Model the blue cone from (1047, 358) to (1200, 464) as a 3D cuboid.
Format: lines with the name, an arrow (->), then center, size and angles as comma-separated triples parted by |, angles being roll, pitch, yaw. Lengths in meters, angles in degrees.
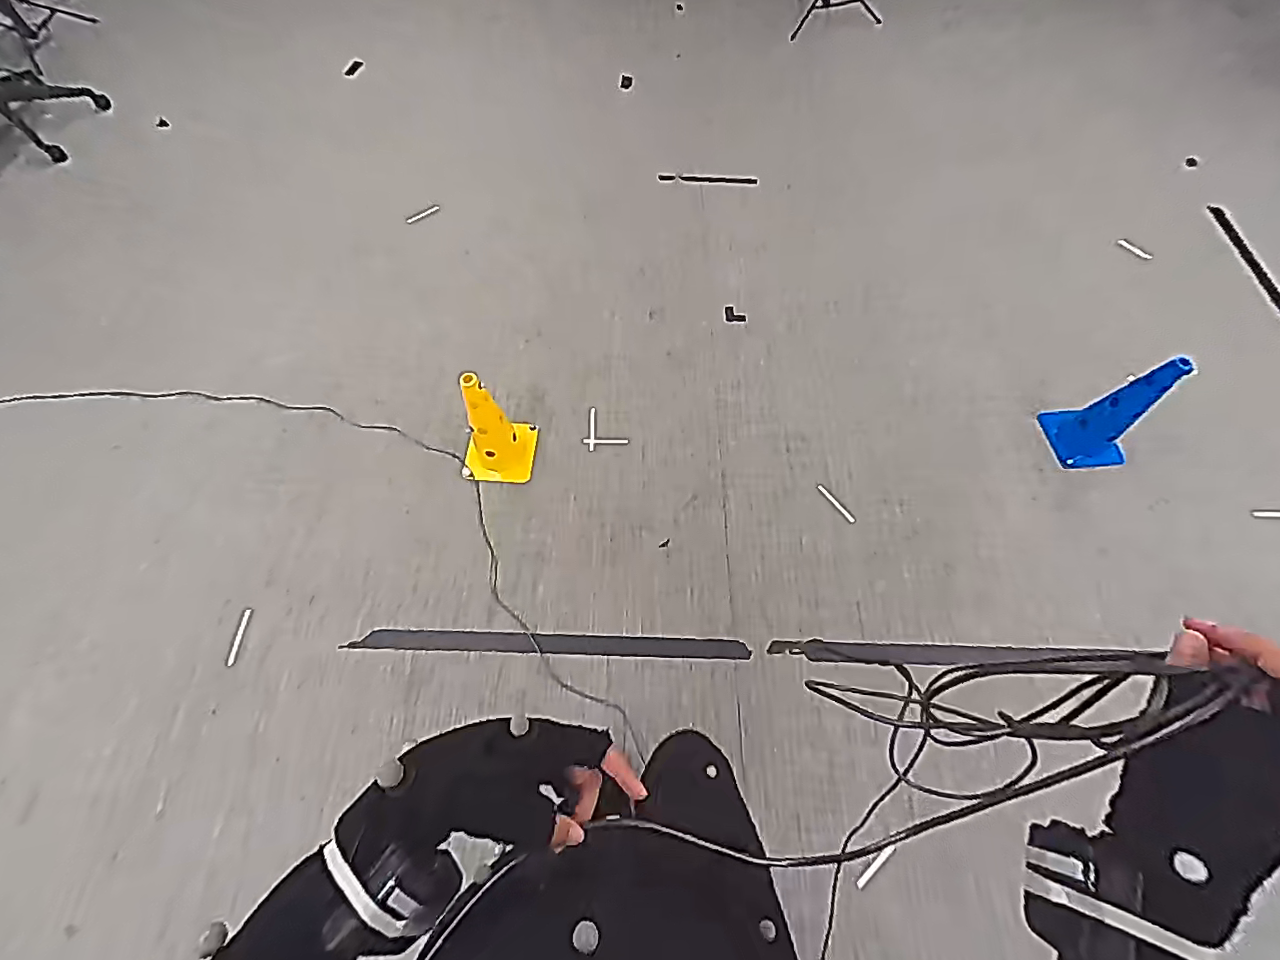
blue cone -> 1.344, -0.210, 1.484 | 0.193, 0.380, 0.192 | -4, 64, -2
